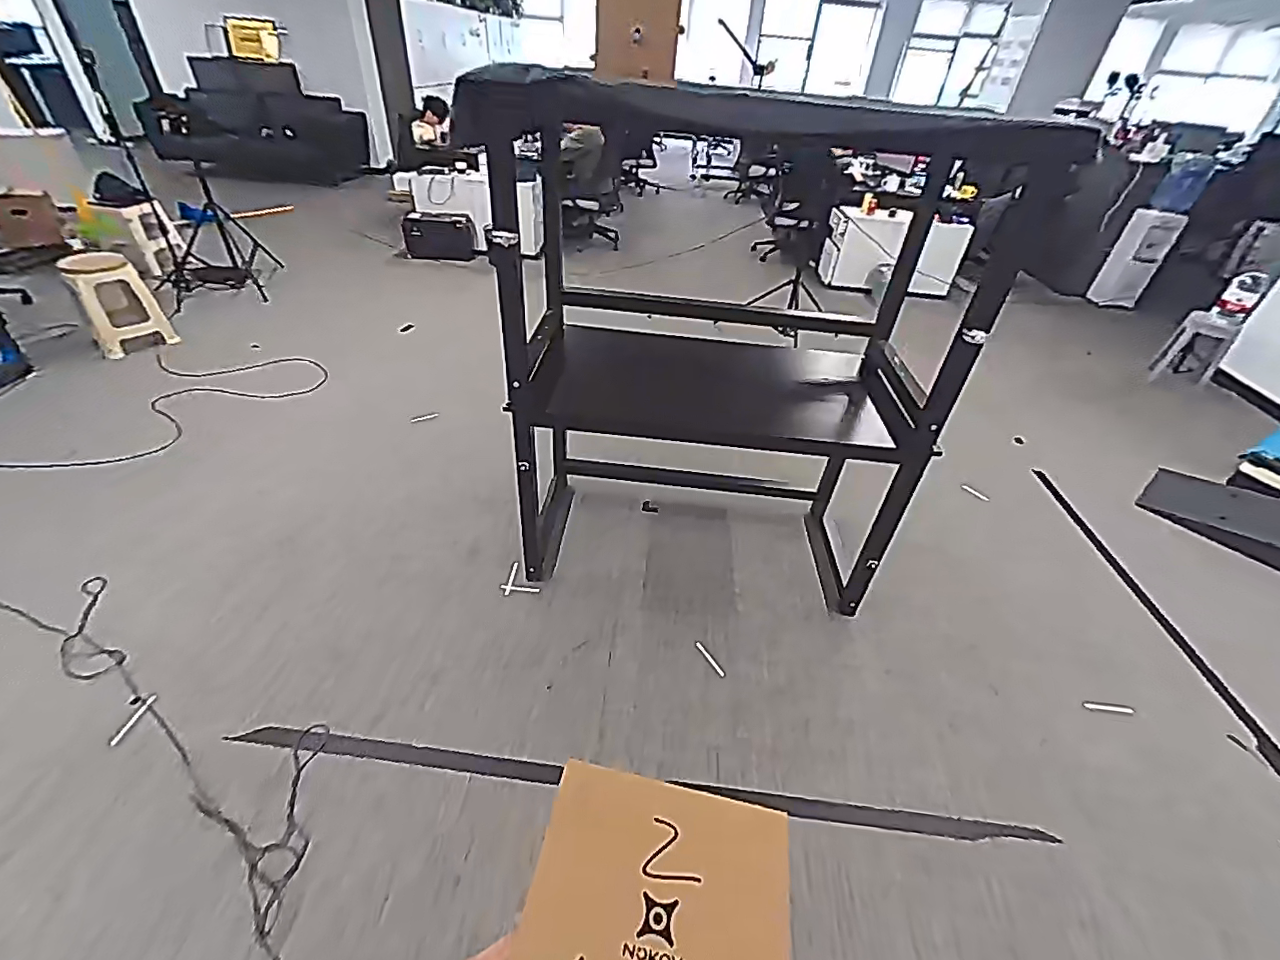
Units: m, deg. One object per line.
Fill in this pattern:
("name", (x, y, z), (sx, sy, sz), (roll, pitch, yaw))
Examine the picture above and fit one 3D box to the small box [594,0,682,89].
("small box", (-0.005, -0.906, 1.099), (0.168, 0.176, 0.179), (4, 37, -3))
